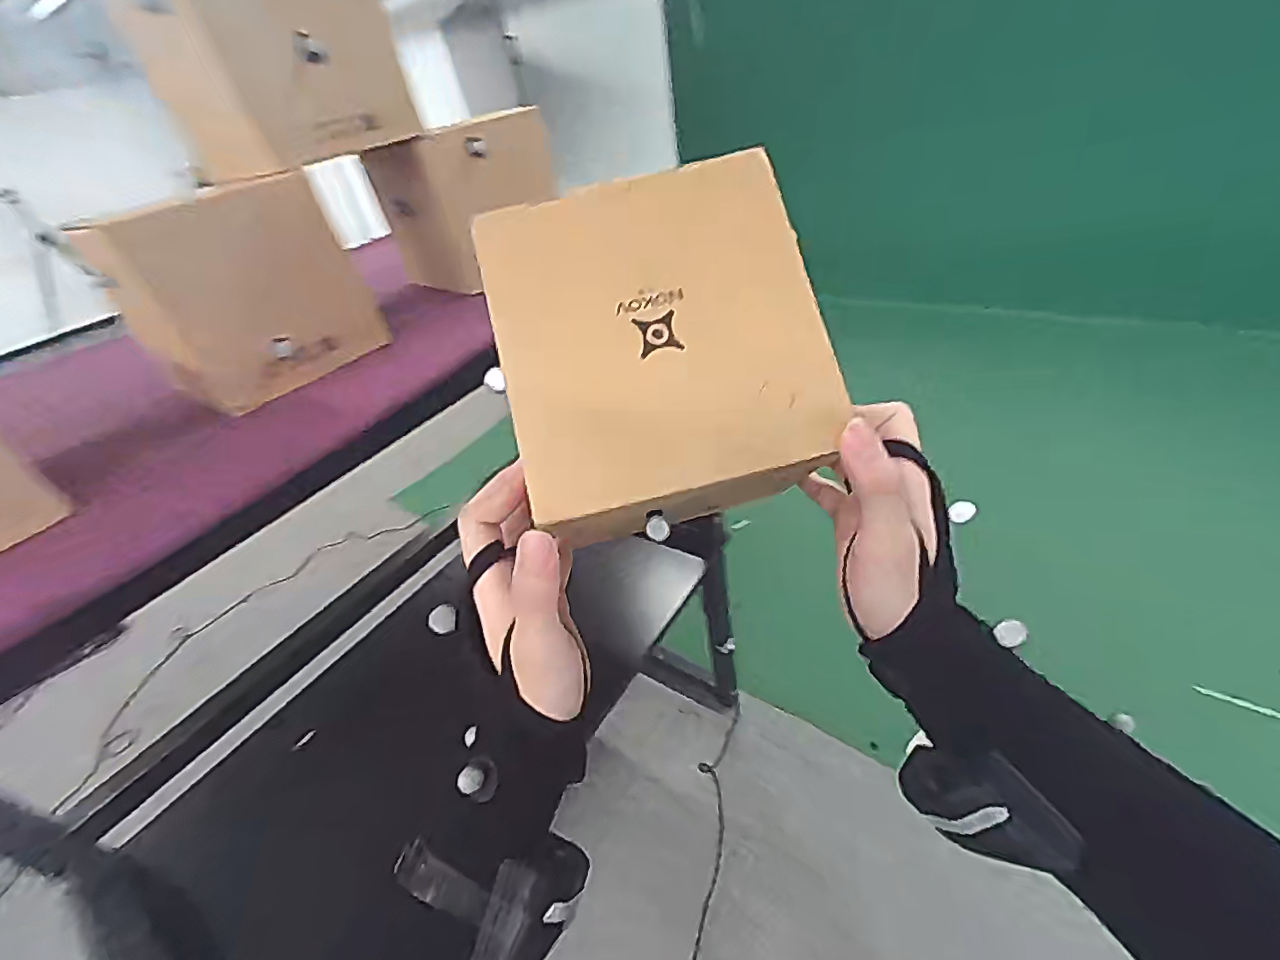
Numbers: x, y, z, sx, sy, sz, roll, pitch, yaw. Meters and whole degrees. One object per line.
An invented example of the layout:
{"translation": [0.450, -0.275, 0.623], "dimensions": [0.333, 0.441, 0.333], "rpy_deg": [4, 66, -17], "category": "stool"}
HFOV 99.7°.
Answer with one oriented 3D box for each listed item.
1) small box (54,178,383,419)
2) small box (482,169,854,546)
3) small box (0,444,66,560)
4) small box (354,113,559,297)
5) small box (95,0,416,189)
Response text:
{"translation": [-0.395, -0.178, 0.528], "dimensions": [0.179, 0.176, 0.168], "rpy_deg": [19, 48, 34], "category": "small box"}
{"translation": [0.014, -0.057, 0.361], "dimensions": [0.168, 0.176, 0.179], "rpy_deg": [-14, 79, 0], "category": "small box"}
{"translation": [-0.542, -0.007, 0.344], "dimensions": [0.179, 0.176, 0.168], "rpy_deg": [16, 45, 31], "category": "small box"}
{"translation": [-0.225, -0.349, 0.698], "dimensions": [0.179, 0.176, 0.168], "rpy_deg": [23, 51, 39], "category": "small box"}
{"translation": [-0.350, -0.389, 0.513], "dimensions": [0.179, 0.176, 0.168], "rpy_deg": [18, 47, 35], "category": "small box"}
